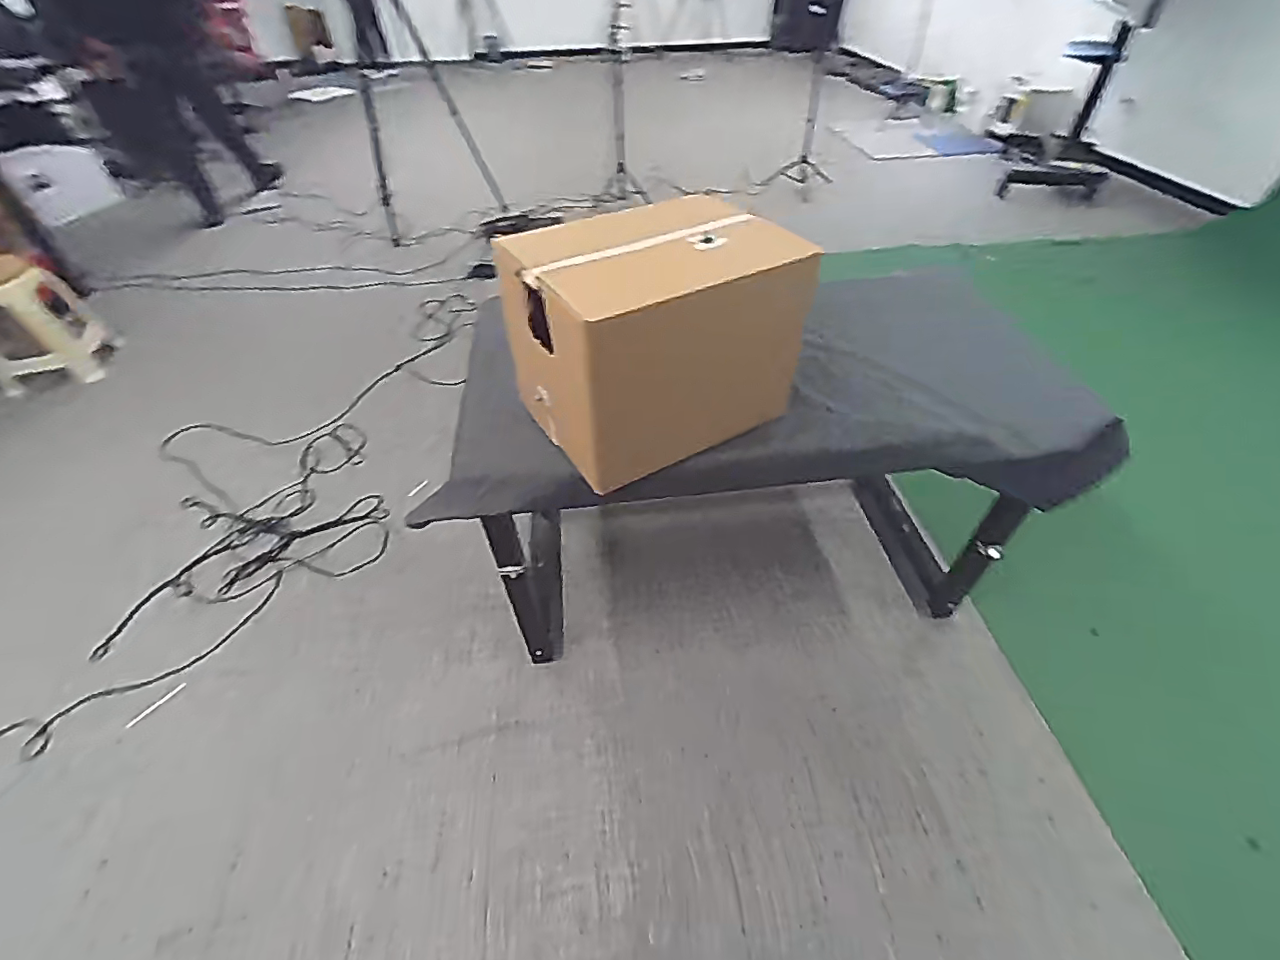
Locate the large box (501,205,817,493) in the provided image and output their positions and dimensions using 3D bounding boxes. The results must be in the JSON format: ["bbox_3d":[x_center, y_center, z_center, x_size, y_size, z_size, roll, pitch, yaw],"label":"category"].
[{"bbox_3d":[0.025,-0.241,0.935,0.408,0.320,0.320,-23,50,-23],"label":"large box"}]
